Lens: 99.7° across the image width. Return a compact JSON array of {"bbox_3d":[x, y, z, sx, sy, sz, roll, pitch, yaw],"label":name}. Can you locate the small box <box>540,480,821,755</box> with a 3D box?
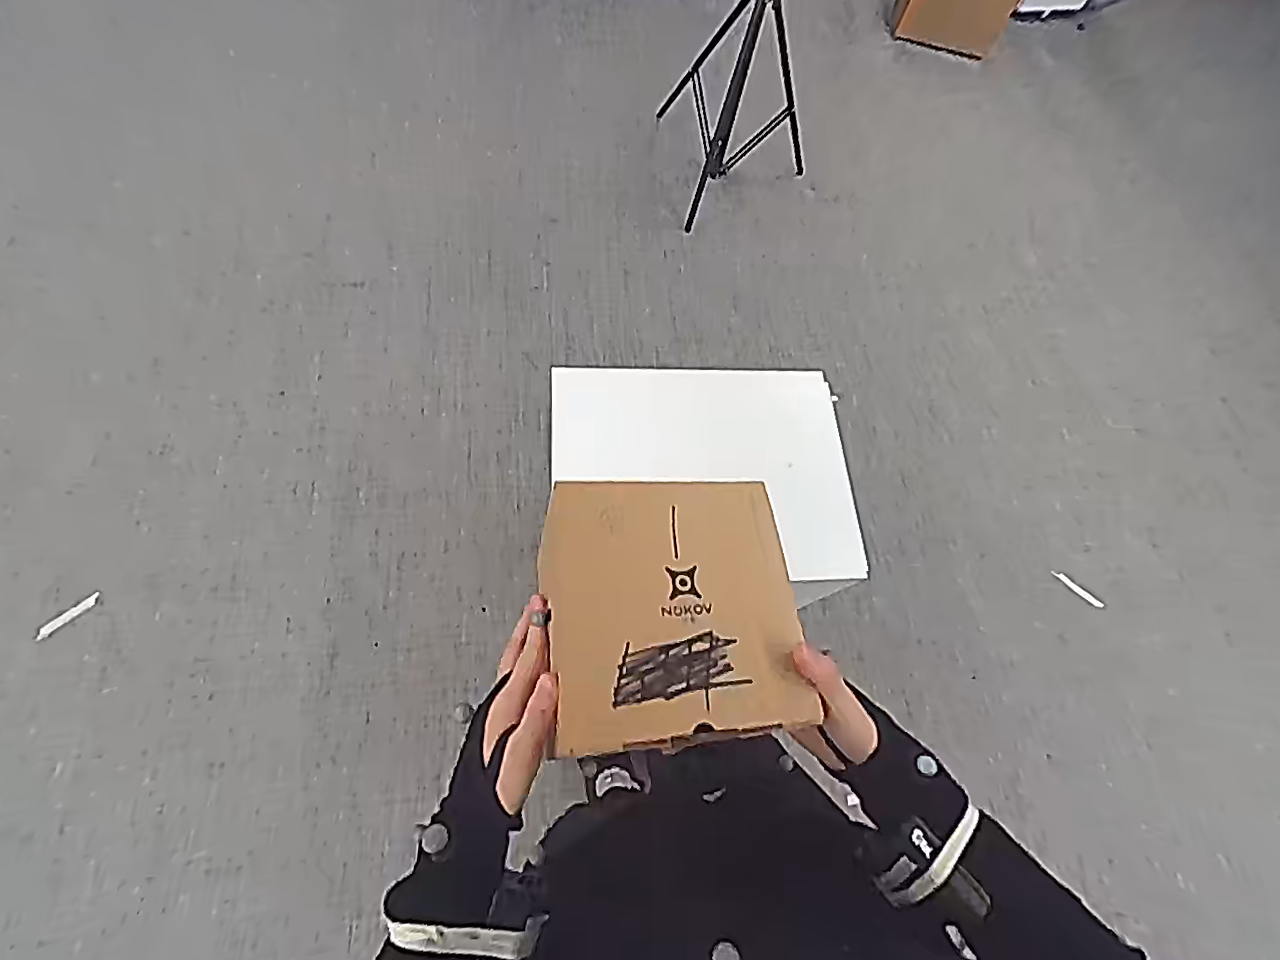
[{"bbox_3d":[0.011,0.115,0.430,0.168,0.176,0.179,0,61,-15],"label":"small box"}]
